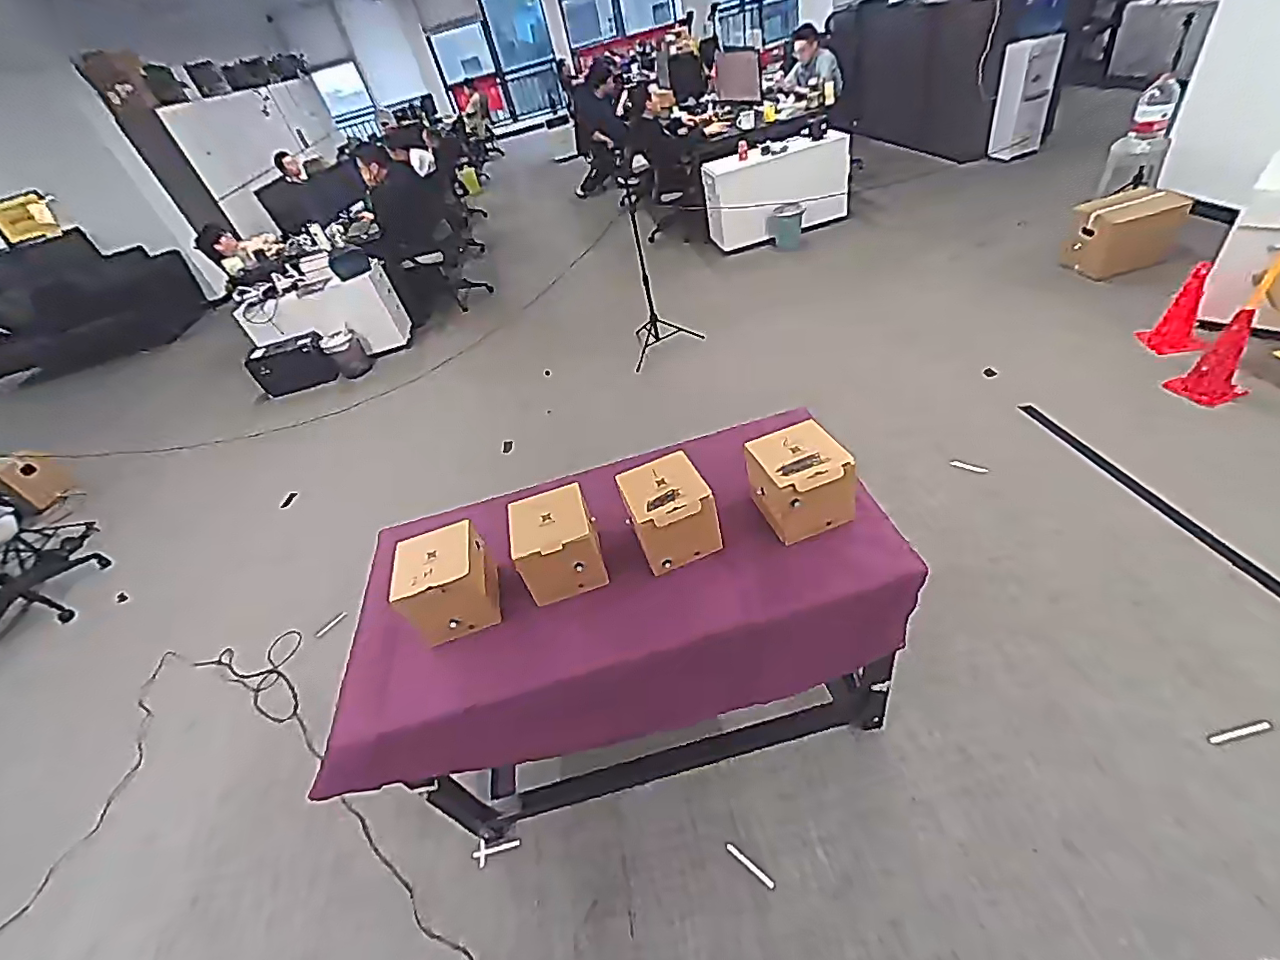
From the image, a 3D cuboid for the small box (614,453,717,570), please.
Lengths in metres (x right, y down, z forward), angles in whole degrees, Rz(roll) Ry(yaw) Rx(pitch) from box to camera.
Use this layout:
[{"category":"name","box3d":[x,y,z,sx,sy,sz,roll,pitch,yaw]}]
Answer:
[{"category":"small box","box3d":[0.059,0.076,1.198,0.168,0.176,0.179,-22,40,-7]}]

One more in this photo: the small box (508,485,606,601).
[{"category":"small box","box3d":[-0.184,0.147,1.201,0.168,0.176,0.179,-18,40,-2]}]

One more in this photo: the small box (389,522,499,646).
[{"category":"small box","box3d":[-0.420,0.228,1.183,0.168,0.176,0.179,-19,41,-3]}]
